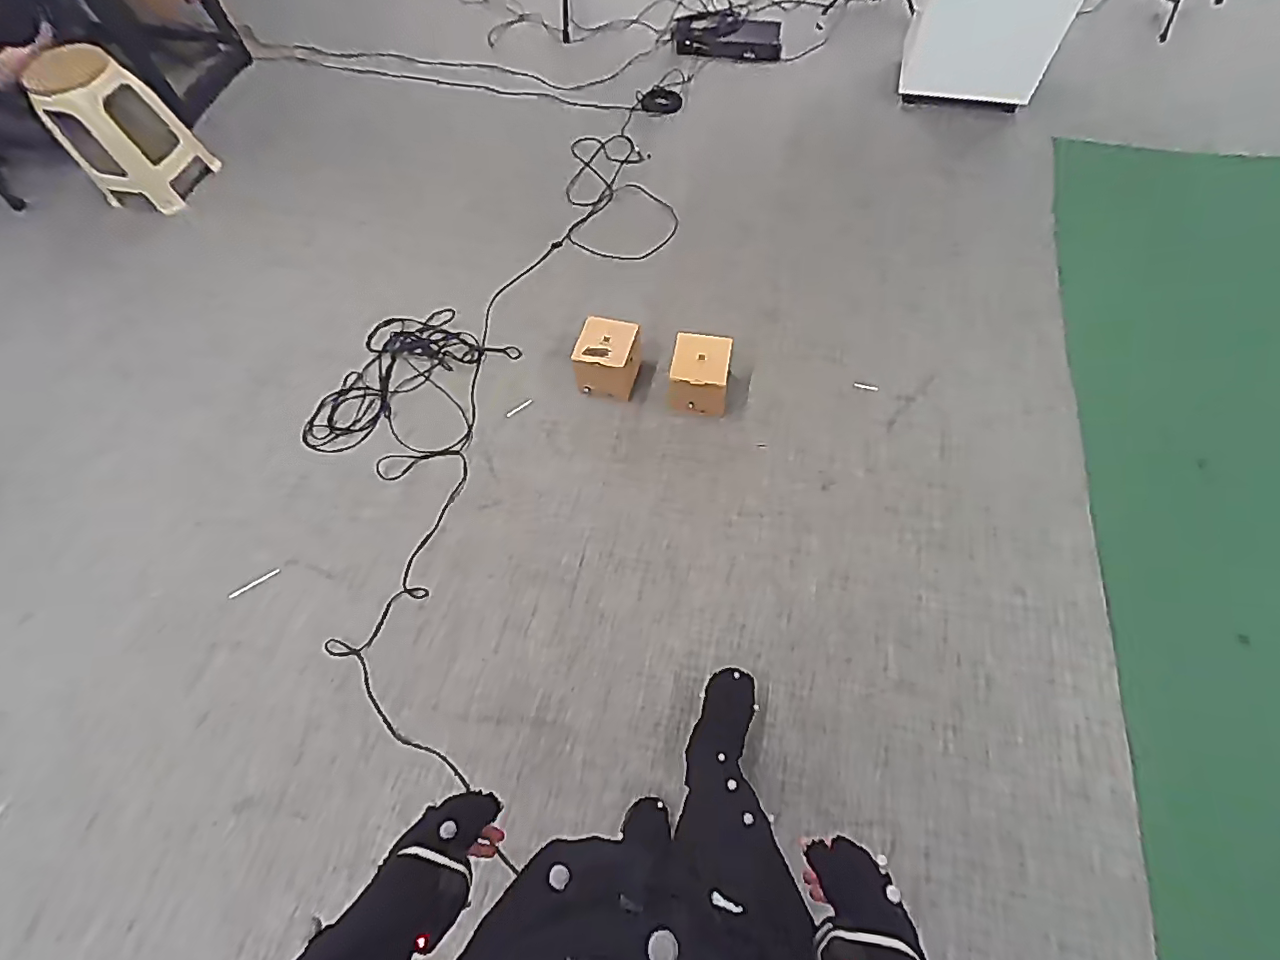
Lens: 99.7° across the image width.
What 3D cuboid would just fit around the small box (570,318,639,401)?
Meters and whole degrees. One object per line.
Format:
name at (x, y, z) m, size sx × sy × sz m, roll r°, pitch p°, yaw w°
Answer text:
small box at (-0.103, -0.373, 1.696) m, size 0.168 × 0.176 × 0.179 m, roll 13°, pitch 64°, yaw 9°

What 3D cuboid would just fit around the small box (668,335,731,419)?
small box at (0.178, -0.313, 1.651) m, size 0.168 × 0.176 × 0.179 m, roll 8°, pitch 65°, yaw 8°
